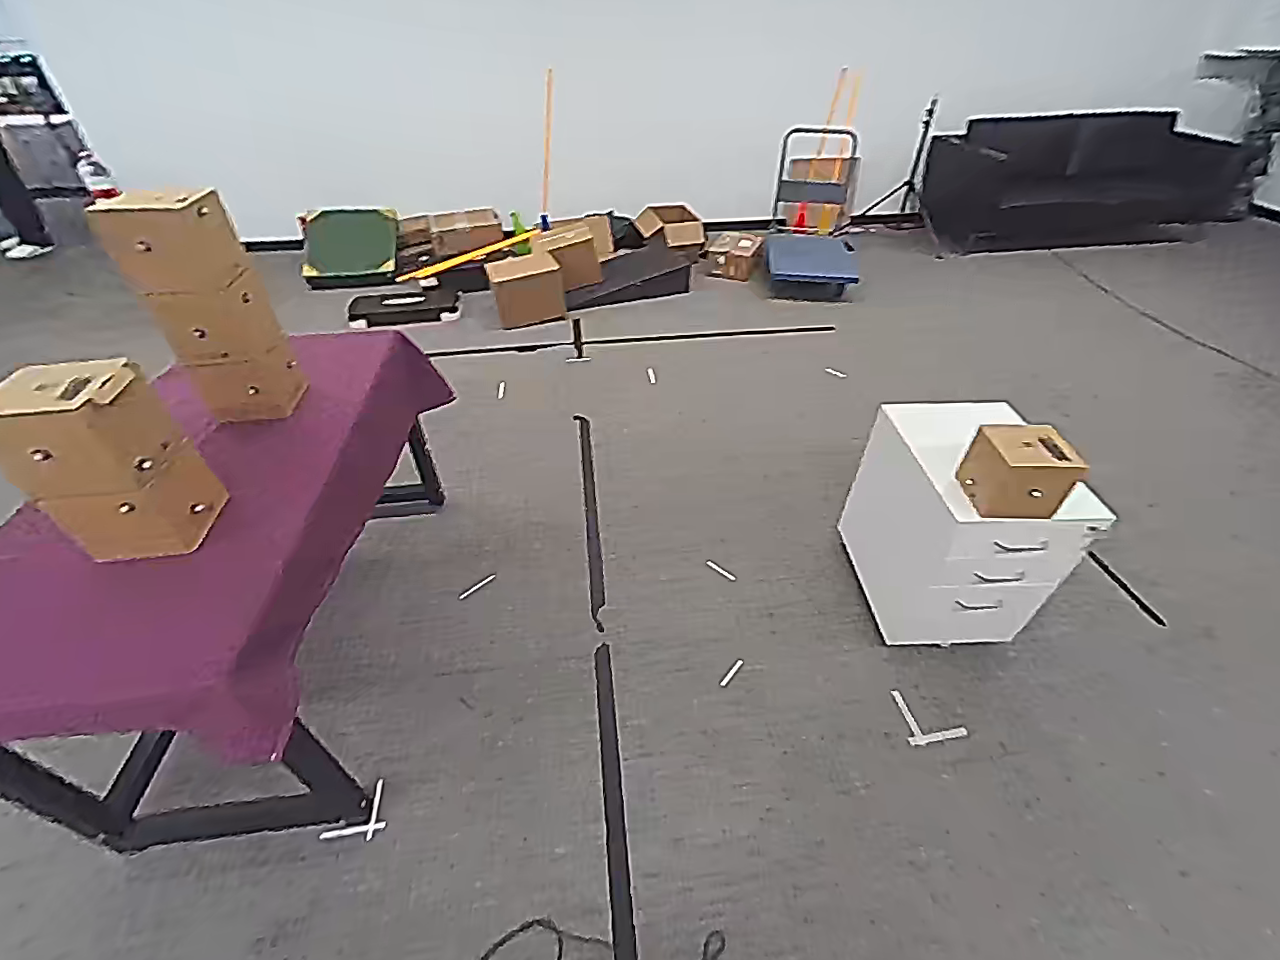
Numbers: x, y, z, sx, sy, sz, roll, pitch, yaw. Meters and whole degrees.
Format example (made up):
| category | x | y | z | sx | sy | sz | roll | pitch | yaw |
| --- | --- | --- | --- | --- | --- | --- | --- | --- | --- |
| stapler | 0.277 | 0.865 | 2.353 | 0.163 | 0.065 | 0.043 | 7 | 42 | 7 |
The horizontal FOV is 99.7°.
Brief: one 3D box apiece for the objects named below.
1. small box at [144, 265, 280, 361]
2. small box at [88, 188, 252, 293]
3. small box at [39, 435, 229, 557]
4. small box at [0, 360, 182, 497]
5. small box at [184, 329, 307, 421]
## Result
| category | x | y | z | sx | sy | sz | roll | pitch | yaw |
| --- | --- | --- | --- | --- | --- | --- | --- | --- | --- |
| small box | -0.986 | -0.388 | 1.269 | 0.168 | 0.176 | 0.179 | -5 | 41 | -7 |
| small box | -0.992 | -0.514 | 1.163 | 0.179 | 0.176 | 0.168 | -5 | 42 | -5 |
| small box | -0.957 | 0.034 | 1.045 | 0.179 | 0.176 | 0.168 | -5 | 42 | -7 |
| small box | -0.957 | -0.089 | 0.935 | 0.179 | 0.176 | 0.168 | -6 | 42 | -7 |
| small box | -0.989 | -0.266 | 1.378 | 0.179 | 0.176 | 0.168 | -5 | 42 | -5 |
